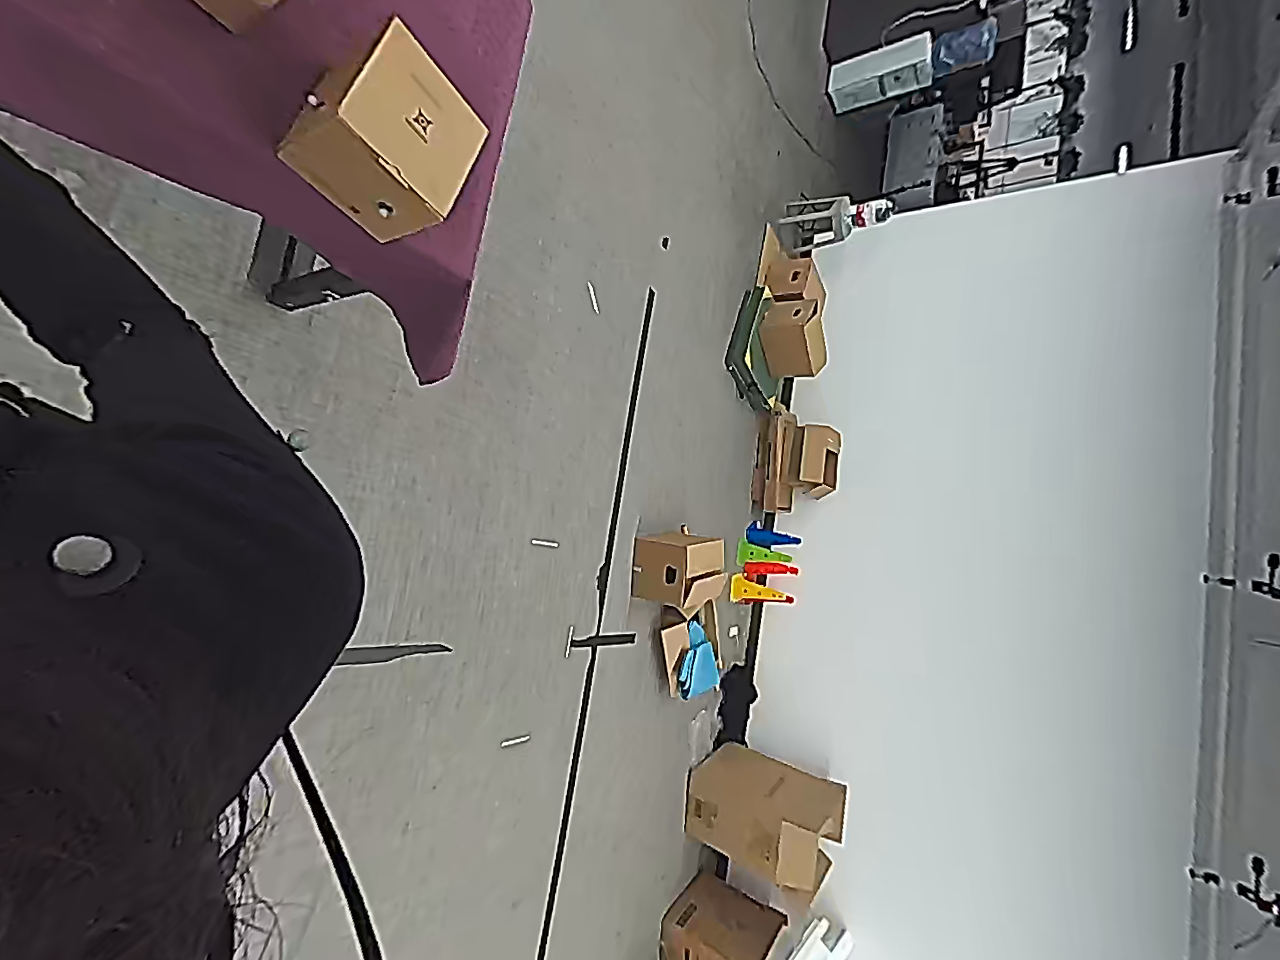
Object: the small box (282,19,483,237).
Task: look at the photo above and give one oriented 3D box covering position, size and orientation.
[{"bbox_3d":[-0.360,-0.475,0.759,0.168,0.176,0.179,39,61,-52],"label":"small box"}]
